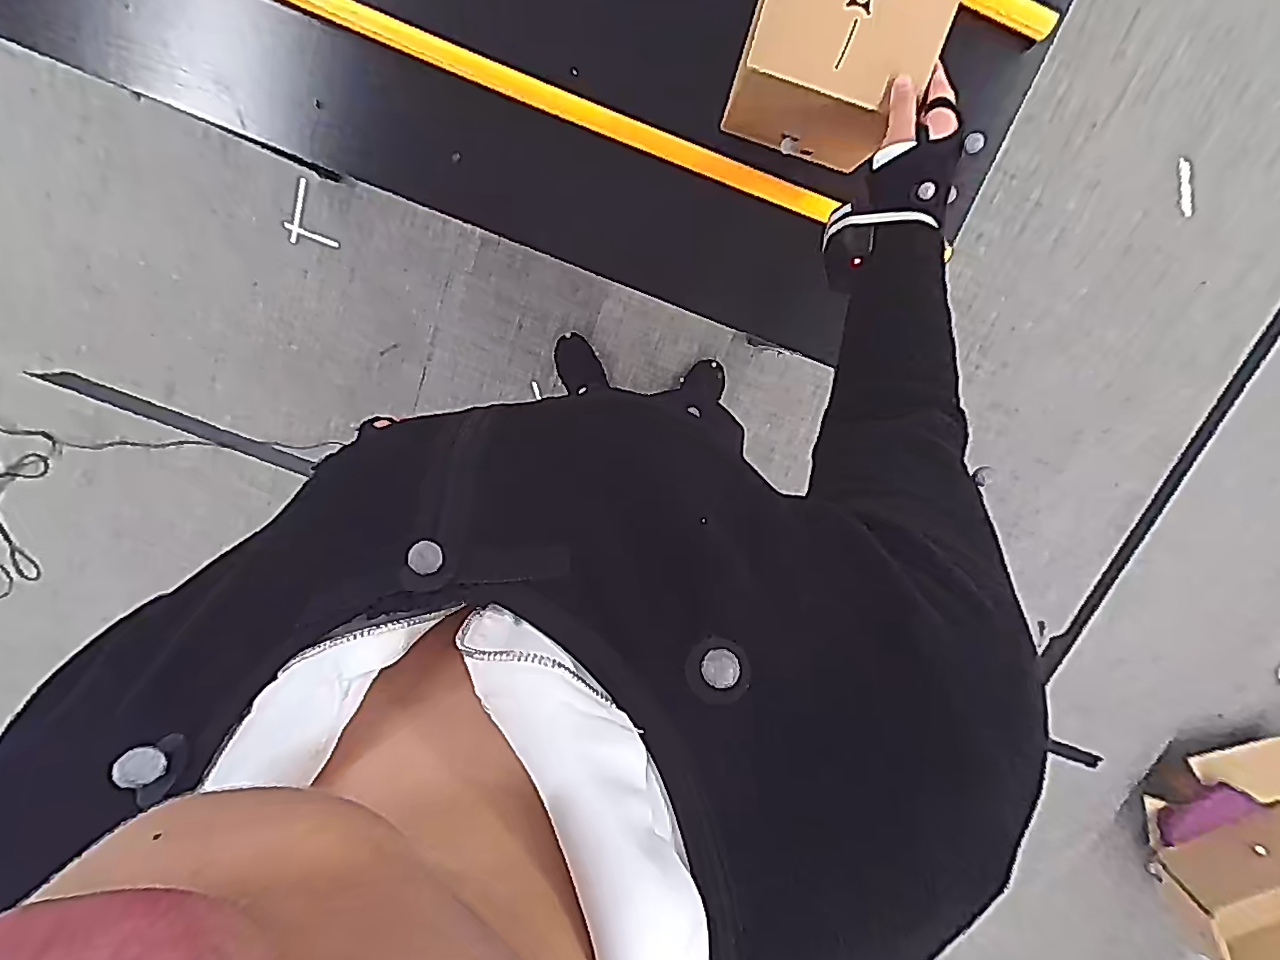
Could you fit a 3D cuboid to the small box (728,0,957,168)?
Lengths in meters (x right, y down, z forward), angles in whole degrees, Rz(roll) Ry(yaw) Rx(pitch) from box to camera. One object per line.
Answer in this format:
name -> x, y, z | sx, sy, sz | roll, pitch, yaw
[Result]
small box -> 0.199, -0.456, 0.552 | 0.168, 0.176, 0.179 | 16, 105, -4
